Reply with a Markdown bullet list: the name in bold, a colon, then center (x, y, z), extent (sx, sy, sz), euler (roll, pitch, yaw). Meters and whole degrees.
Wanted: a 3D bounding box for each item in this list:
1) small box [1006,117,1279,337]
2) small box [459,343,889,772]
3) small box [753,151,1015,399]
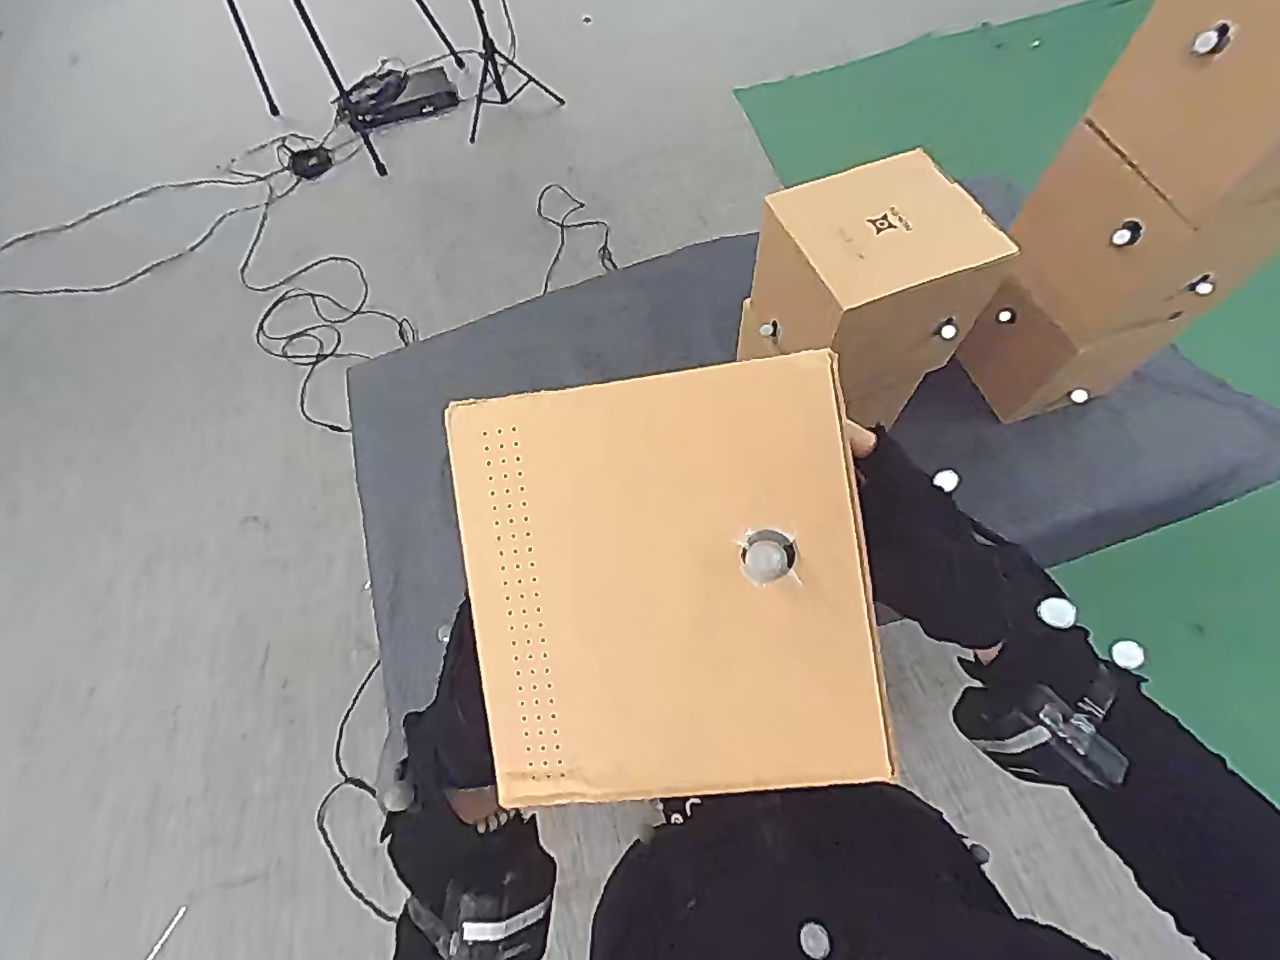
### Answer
- **small box**: center (0.553, -0.279, 0.591), extent (0.168, 0.176, 0.179), euler (-15, 64, -2)
- **small box**: center (0.017, 0.041, 0.307), extent (0.176, 0.168, 0.179), euler (-9, 89, 6)
- **small box**: center (0.240, -0.208, 0.587), extent (0.179, 0.176, 0.168), euler (-19, 64, -4)
